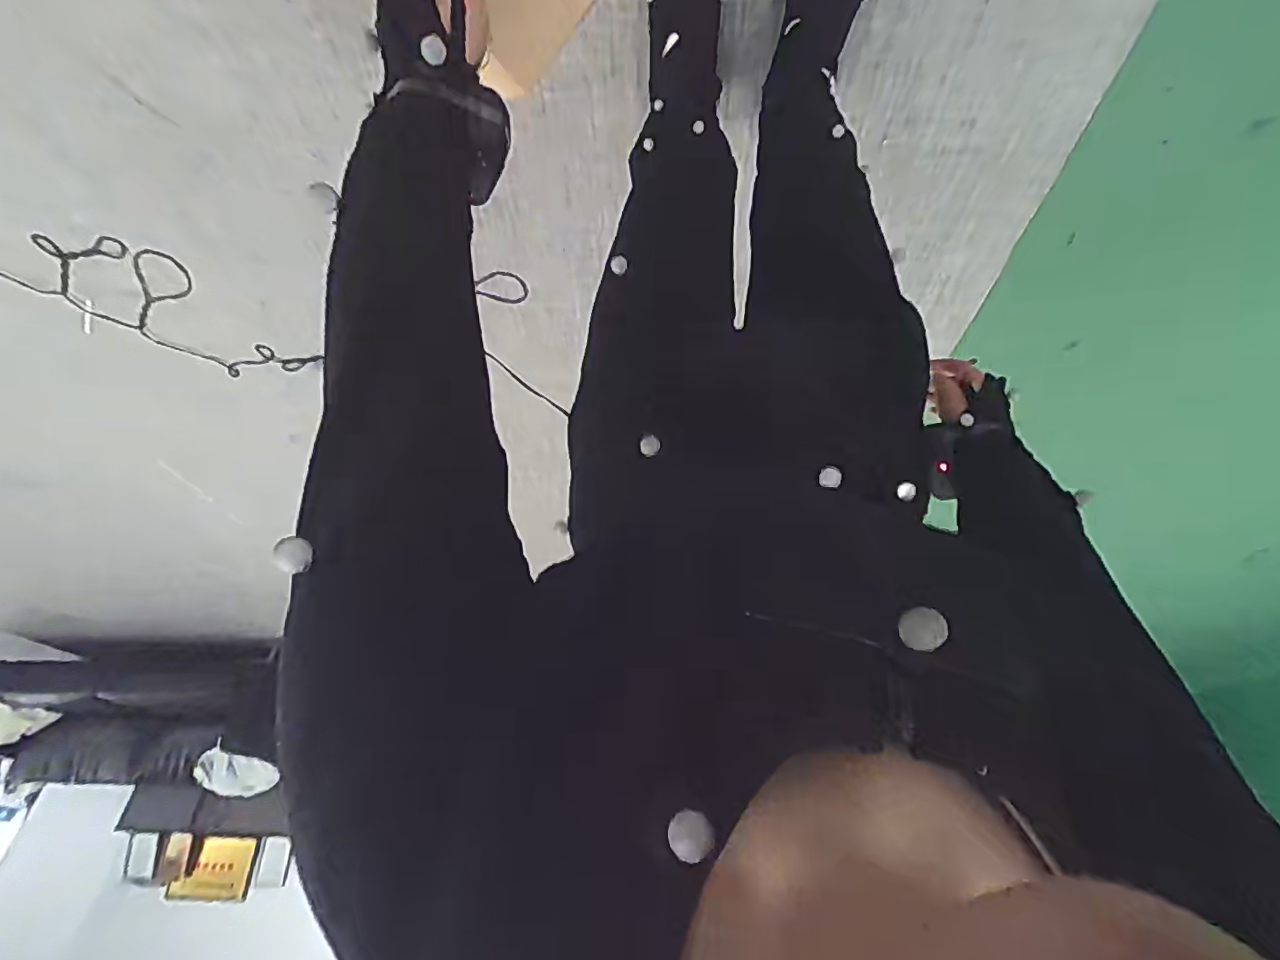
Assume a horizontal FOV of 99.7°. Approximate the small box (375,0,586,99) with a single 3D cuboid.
[{"bbox_3d":[-0.148,-0.488,0.488,0.168,0.179,0.176,31,98,-45],"label":"small box"}]
